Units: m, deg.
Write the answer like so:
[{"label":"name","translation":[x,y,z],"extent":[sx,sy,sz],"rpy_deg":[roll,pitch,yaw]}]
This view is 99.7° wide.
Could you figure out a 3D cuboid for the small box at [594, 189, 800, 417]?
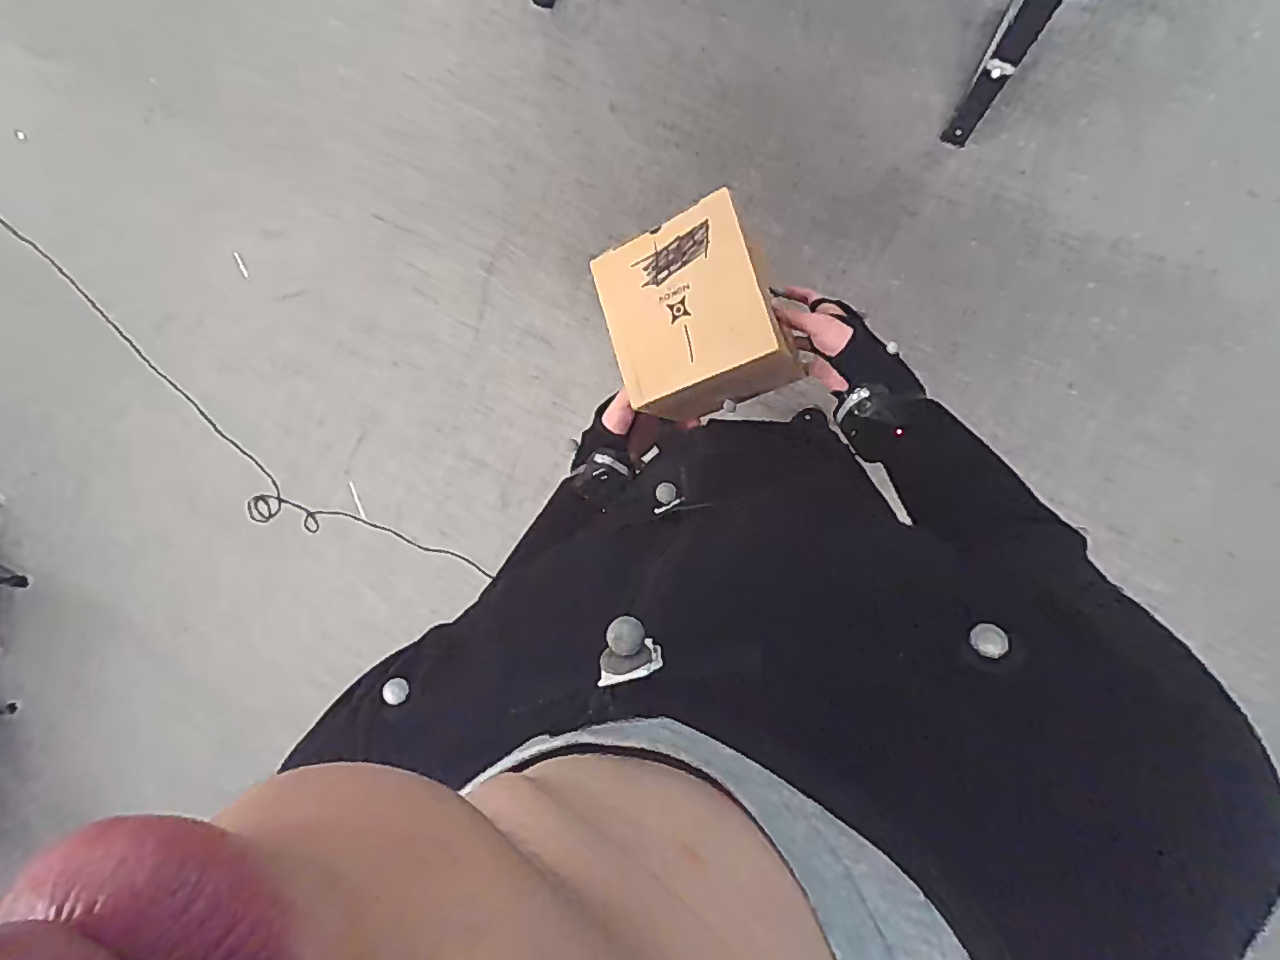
[{"label":"small box","translation":[0.074,-0.185,0.628],"extent":[0.168,0.176,0.179],"rpy_deg":[-18,83,24]}]
